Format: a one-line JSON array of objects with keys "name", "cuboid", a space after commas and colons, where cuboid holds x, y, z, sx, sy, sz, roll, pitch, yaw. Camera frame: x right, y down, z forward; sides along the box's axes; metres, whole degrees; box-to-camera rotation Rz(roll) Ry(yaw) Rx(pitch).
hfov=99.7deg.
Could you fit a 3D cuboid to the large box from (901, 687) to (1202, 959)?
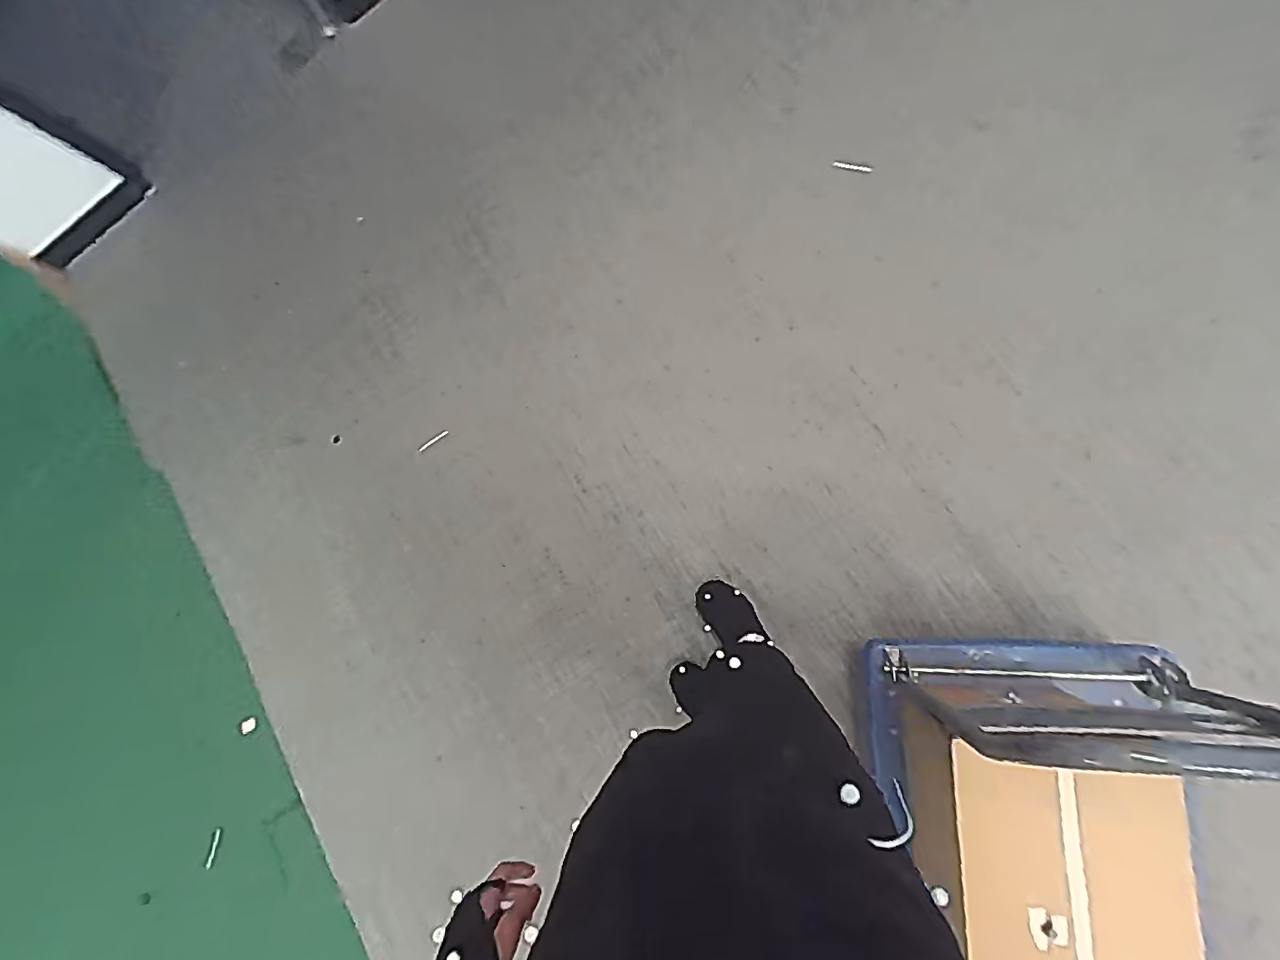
[{"name": "large box", "cuboid": [0.684, 0.612, 0.961, 0.320, 0.320, 0.408, -2, 84, 12]}]
